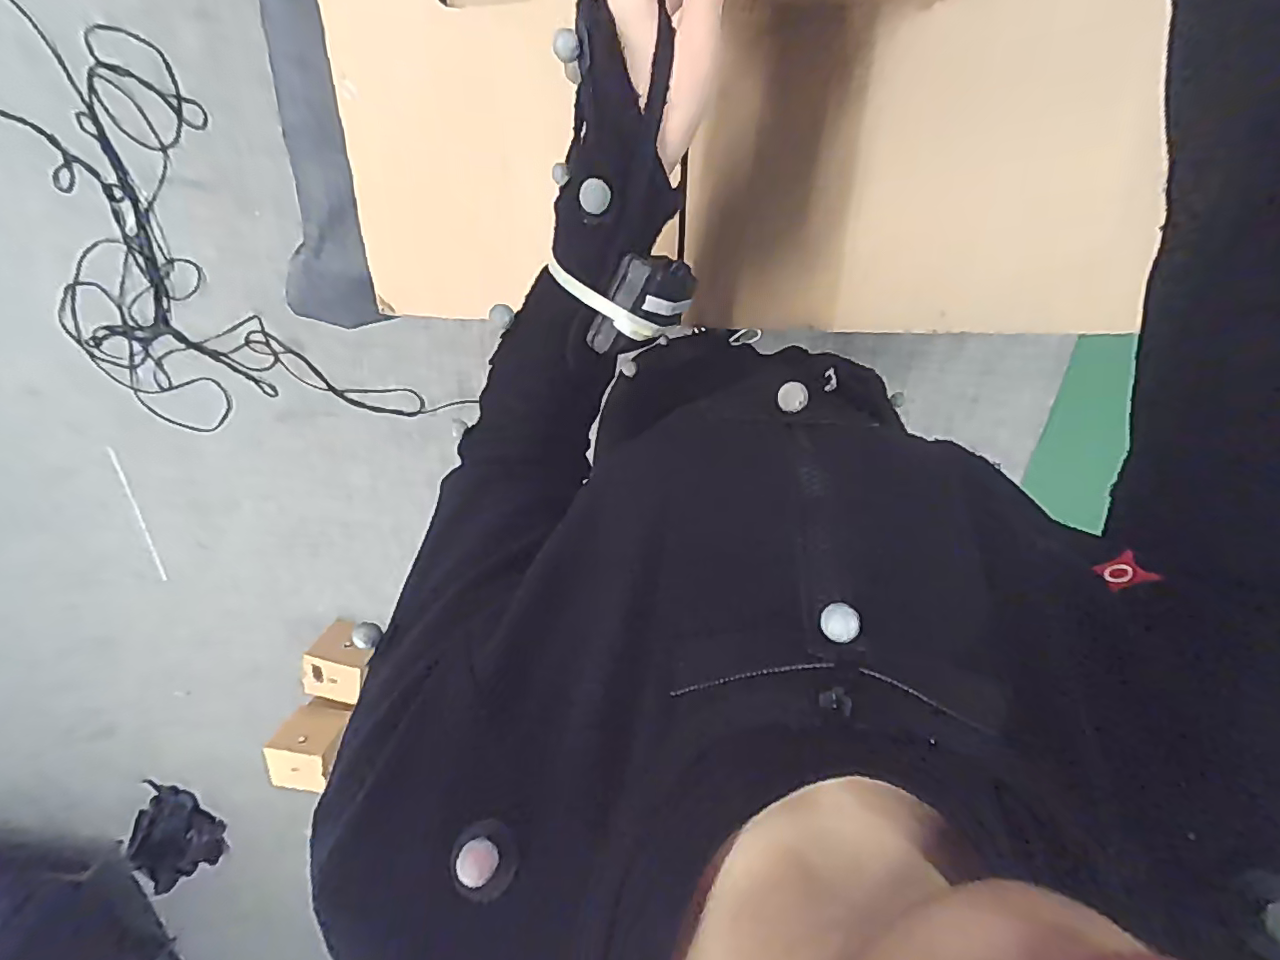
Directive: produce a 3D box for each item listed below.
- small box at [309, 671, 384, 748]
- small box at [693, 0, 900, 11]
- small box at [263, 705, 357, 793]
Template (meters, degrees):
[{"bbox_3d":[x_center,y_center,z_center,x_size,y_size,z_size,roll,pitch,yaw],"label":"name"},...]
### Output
[{"bbox_3d":[-0.986,0.771,1.827,0.179,0.176,0.168,8,115,2],"label":"small box"},{"bbox_3d":[0.111,-0.364,0.263,0.179,0.176,0.168,2,113,6],"label":"small box"},{"bbox_3d":[-1.015,0.826,1.675,0.179,0.176,0.168,8,115,2],"label":"small box"}]
